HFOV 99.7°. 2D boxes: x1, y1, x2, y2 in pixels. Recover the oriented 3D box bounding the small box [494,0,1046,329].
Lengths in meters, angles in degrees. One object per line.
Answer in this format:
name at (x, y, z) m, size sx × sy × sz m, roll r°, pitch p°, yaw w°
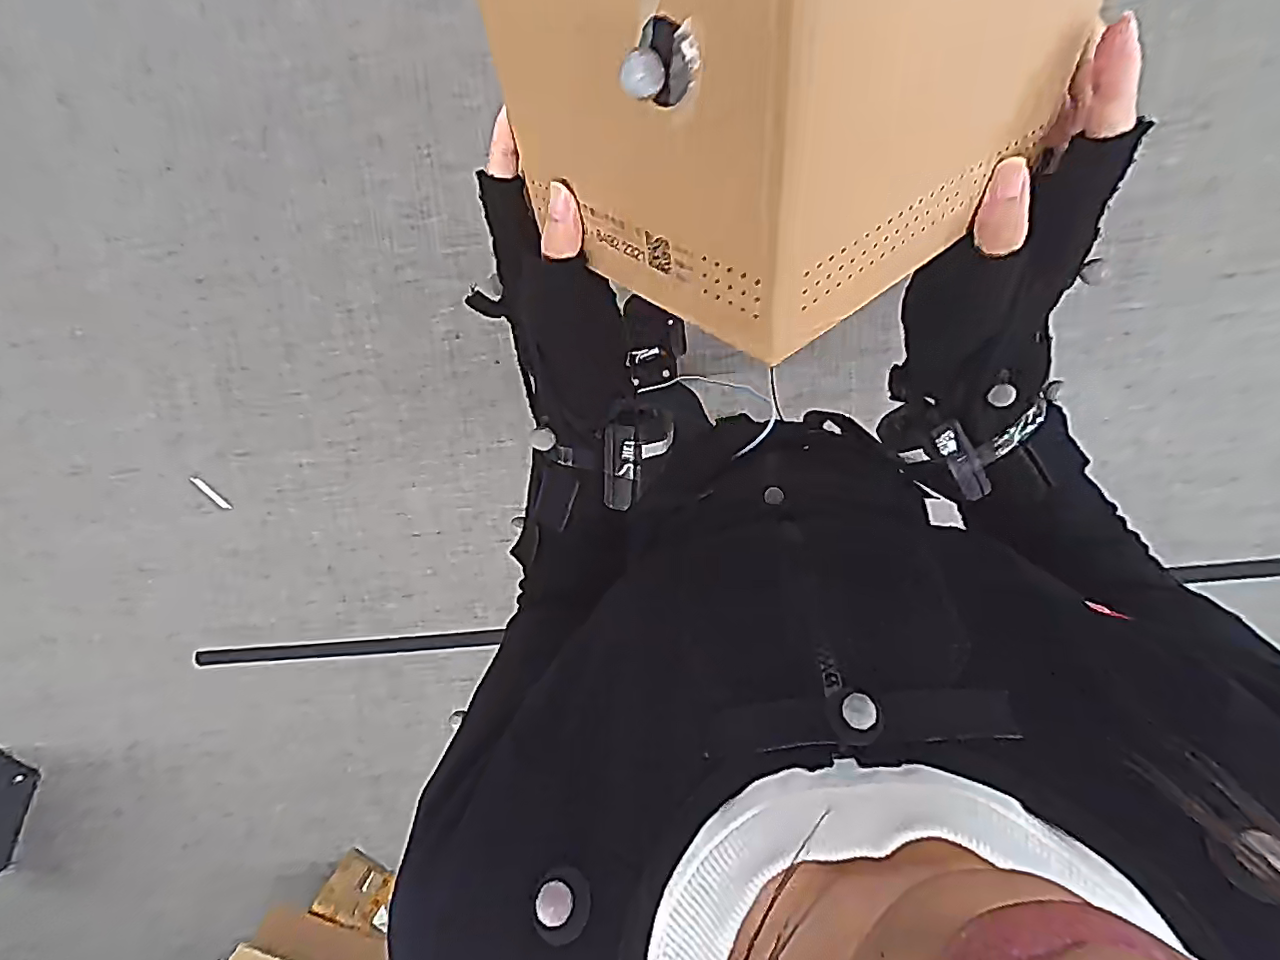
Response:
small box at (0.053, -0.192, 0.230) m, size 0.179 × 0.176 × 0.168 m, roll -35°, pitch 53°, yaw -20°
